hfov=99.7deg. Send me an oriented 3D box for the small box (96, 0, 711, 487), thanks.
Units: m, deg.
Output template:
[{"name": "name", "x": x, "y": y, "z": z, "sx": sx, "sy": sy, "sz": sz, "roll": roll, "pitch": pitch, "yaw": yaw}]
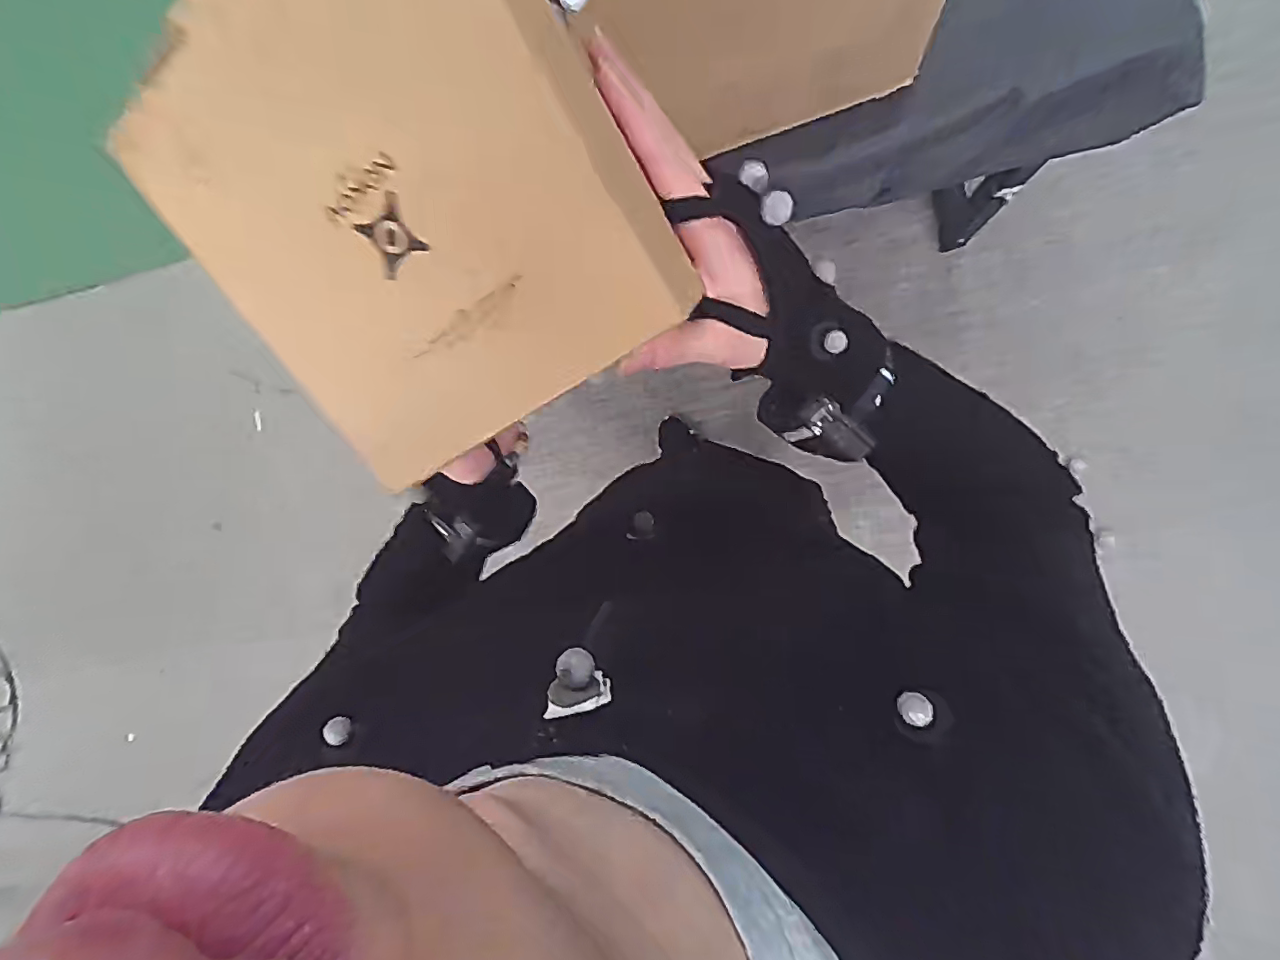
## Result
[{"name": "small box", "x": -0.078, "y": -0.131, "z": 0.267, "sx": 0.168, "sy": 0.176, "sz": 0.179, "roll": -25, "pitch": 110, "yaw": 23}]
